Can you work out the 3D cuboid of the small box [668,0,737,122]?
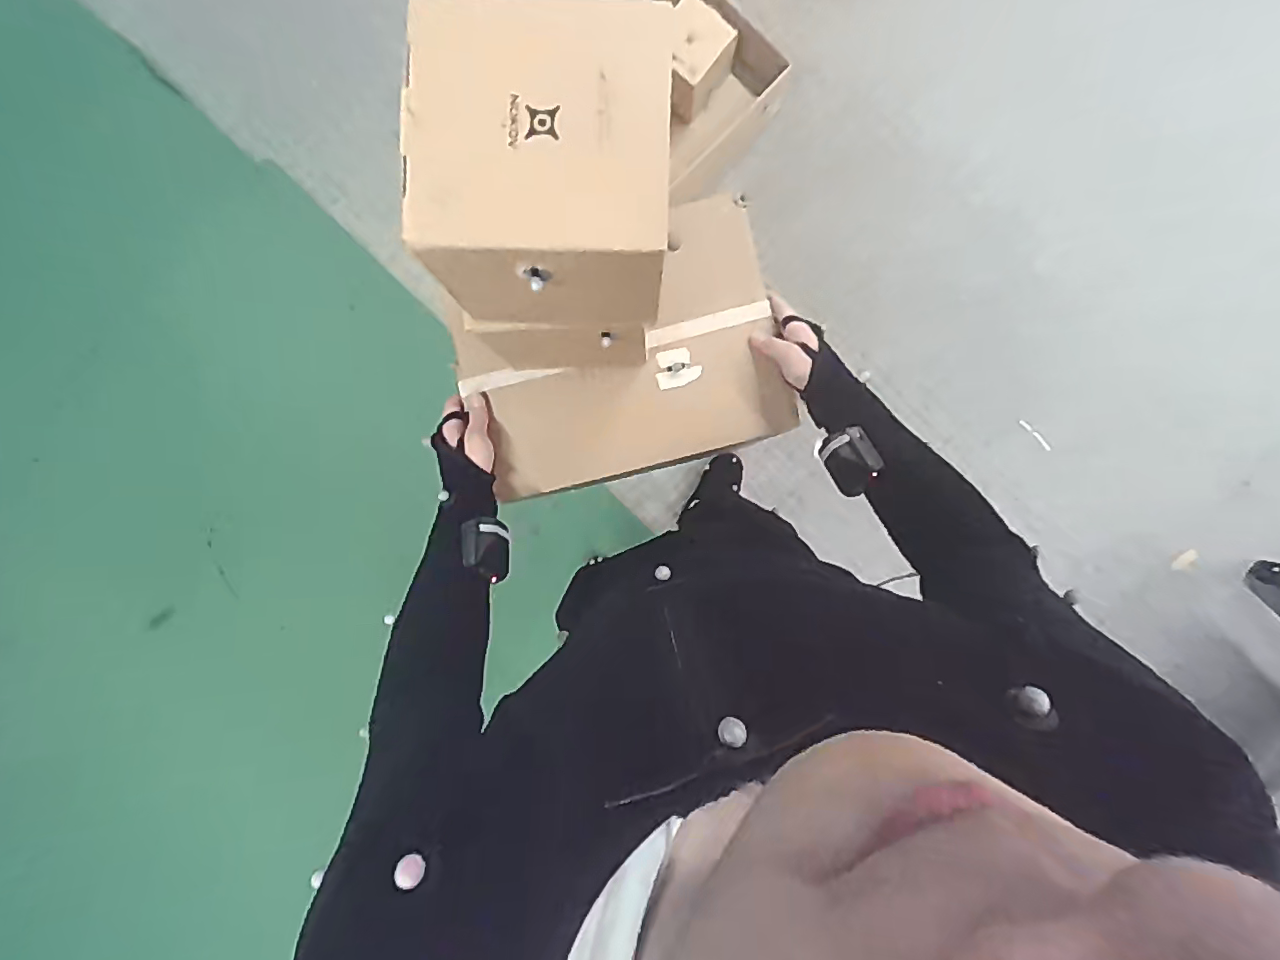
[{"bbox_3d":[0.132,-1.125,1.451,0.168,0.176,0.179,40,93,0],"label":"small box"}]

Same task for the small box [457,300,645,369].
[{"bbox_3d":[-0.086,-0.222,0.586,0.179,0.176,0.168,-3,88,0],"label":"small box"}]

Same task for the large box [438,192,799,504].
[{"bbox_3d":[-0.029,-0.165,0.828,0.408,0.320,0.320,-14,91,0],"label":"large box"}]

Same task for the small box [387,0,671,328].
[{"bbox_3d":[-0.070,-0.225,0.423,0.179,0.176,0.168,2,89,0],"label":"small box"}]
